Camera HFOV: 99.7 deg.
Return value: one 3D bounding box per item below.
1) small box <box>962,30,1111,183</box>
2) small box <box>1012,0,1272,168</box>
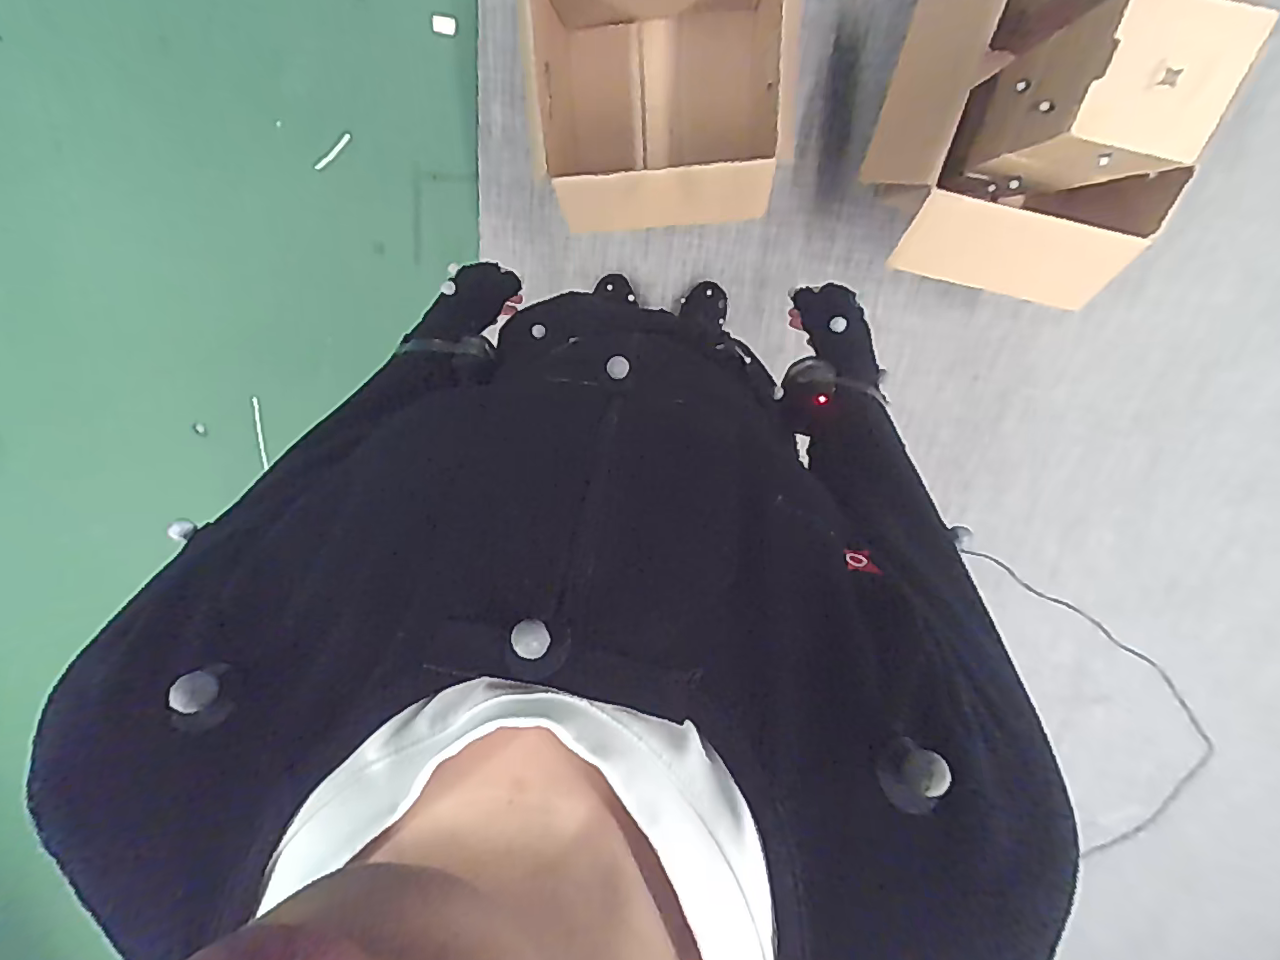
[{"bbox_3d":[0.696,-0.615,0.915,0.179,0.176,0.168,13,113,1],"label":"small box"},{"bbox_3d":[0.679,-0.556,0.765,0.179,0.176,0.168,13,115,1],"label":"small box"}]
